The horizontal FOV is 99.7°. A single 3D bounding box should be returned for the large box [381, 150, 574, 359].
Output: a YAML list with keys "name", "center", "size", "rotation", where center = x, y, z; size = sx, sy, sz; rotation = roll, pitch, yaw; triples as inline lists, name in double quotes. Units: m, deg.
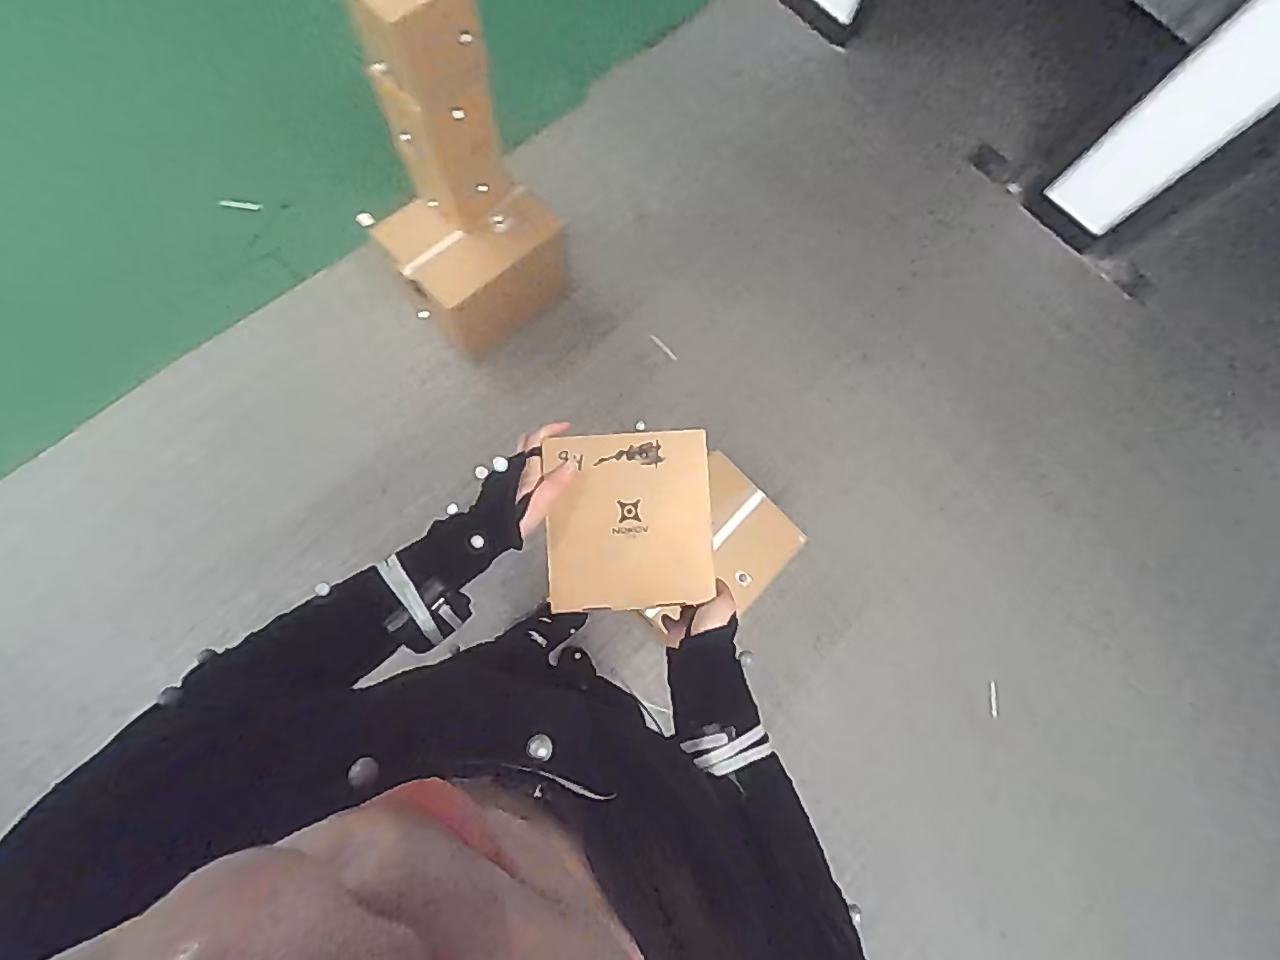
- name: "large box"
  center: [-0.441, -0.633, 1.559]
  size: [0.408, 0.320, 0.320]
  rotation: [-43, 83, -15]

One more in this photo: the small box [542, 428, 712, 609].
- name: "small box"
  center: [-0.014, 0.038, 0.620]
  size: [0.168, 0.176, 0.179]
  rotation: [-4, 89, -2]

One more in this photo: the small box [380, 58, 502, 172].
- name: "small box"
  center: [-0.423, -0.832, 1.190]
  size: [0.179, 0.176, 0.168]
  rotation: [-43, 80, -13]

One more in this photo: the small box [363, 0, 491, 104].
- name: "small box"
  center: [-0.405, -0.878, 1.034]
  size: [0.179, 0.176, 0.168]
  rotation: [-42, 79, -12]
